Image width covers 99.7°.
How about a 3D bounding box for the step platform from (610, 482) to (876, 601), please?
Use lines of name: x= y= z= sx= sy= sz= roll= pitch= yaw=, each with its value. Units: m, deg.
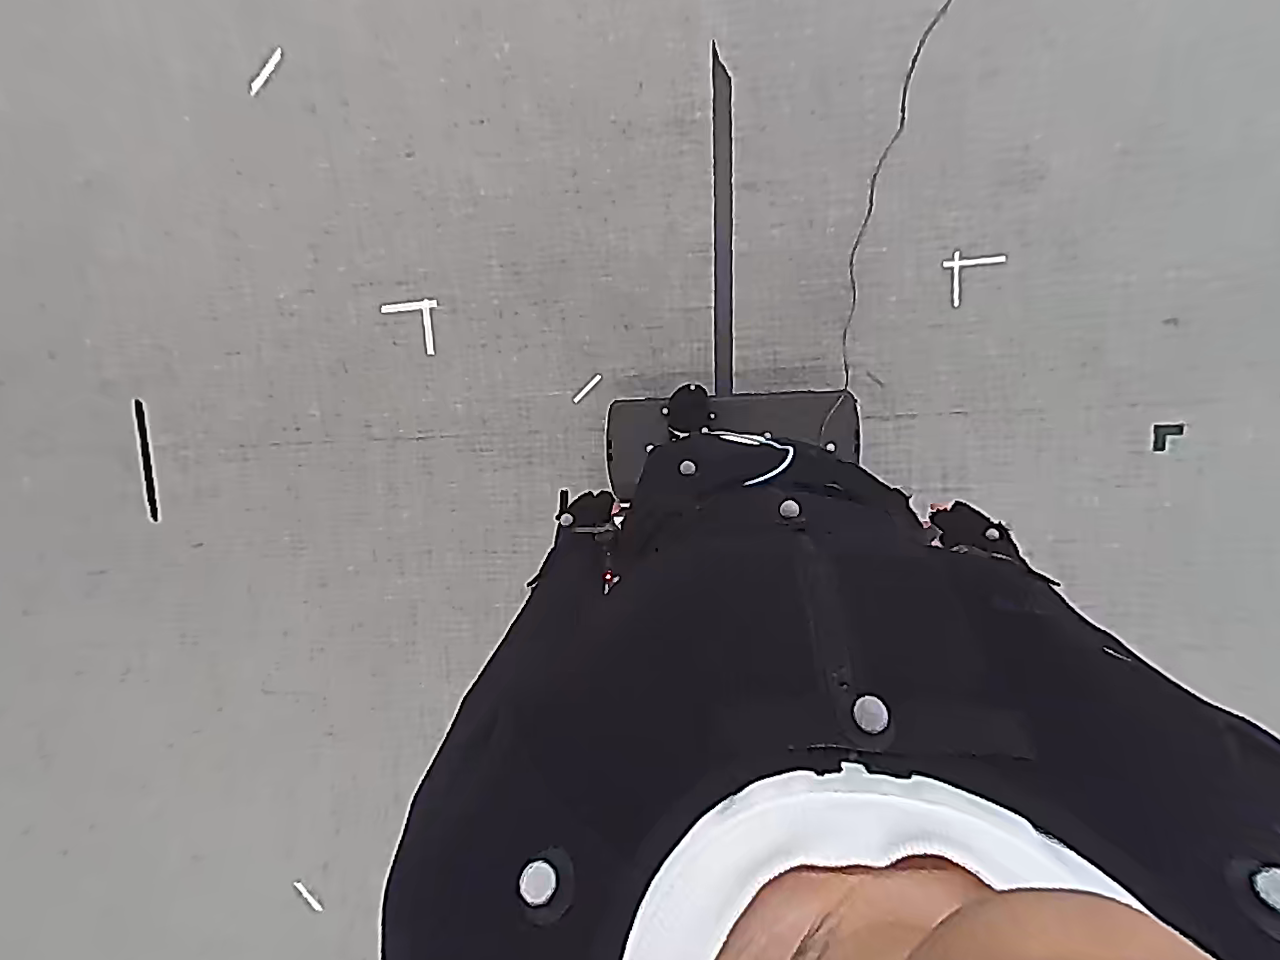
step platform: x=0.262 y=0.166 z=1.450 sx=0.684 sy=0.204 sz=0.286 roll=-2 pitch=95 yaw=8
